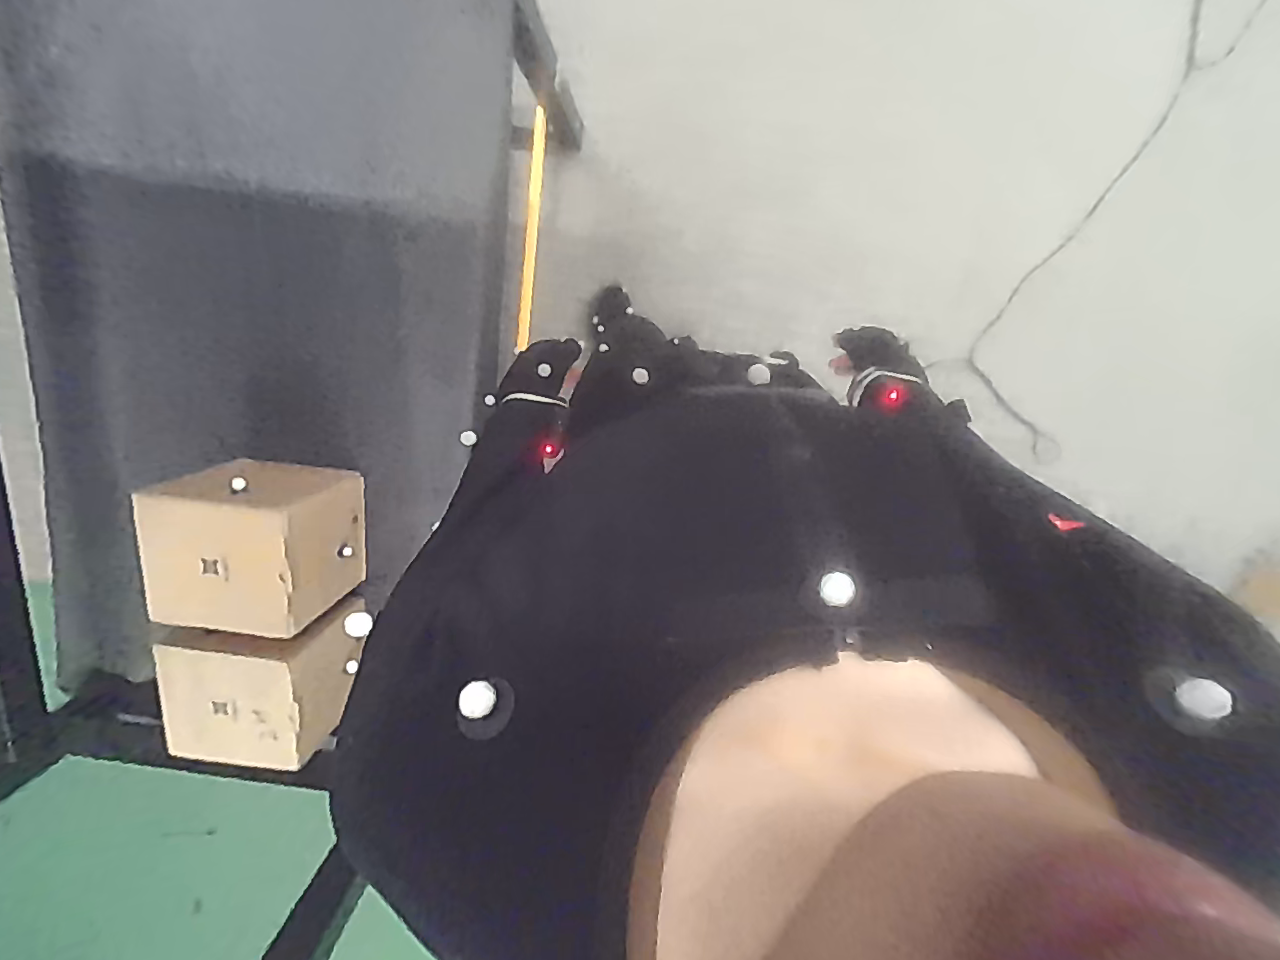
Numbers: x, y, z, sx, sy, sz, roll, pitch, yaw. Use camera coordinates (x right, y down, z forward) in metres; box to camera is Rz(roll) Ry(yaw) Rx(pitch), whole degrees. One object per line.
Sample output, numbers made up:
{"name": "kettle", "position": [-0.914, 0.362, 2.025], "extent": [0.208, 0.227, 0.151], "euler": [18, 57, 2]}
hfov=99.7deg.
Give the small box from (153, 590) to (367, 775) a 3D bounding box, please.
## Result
{"name": "small box", "position": [-0.509, 0.267, 0.749], "extent": [0.179, 0.176, 0.168], "euler": [7, 105, 1]}
